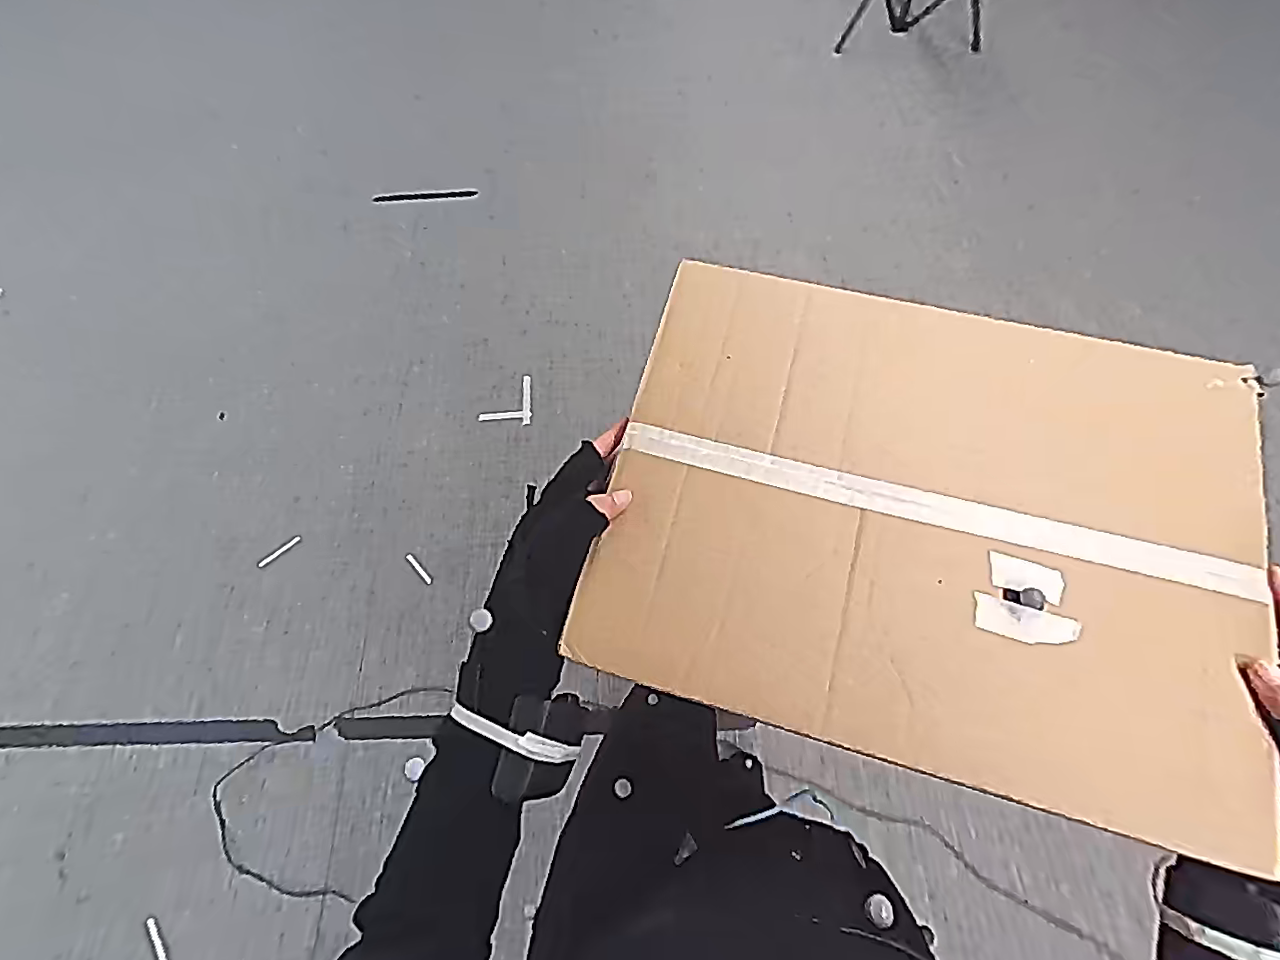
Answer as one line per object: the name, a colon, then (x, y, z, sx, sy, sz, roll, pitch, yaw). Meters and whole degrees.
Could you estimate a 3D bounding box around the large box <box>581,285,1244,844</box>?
large box: (0.196, 0.068, 0.514, 0.408, 0.320, 0.320, 14, 74, 9)
